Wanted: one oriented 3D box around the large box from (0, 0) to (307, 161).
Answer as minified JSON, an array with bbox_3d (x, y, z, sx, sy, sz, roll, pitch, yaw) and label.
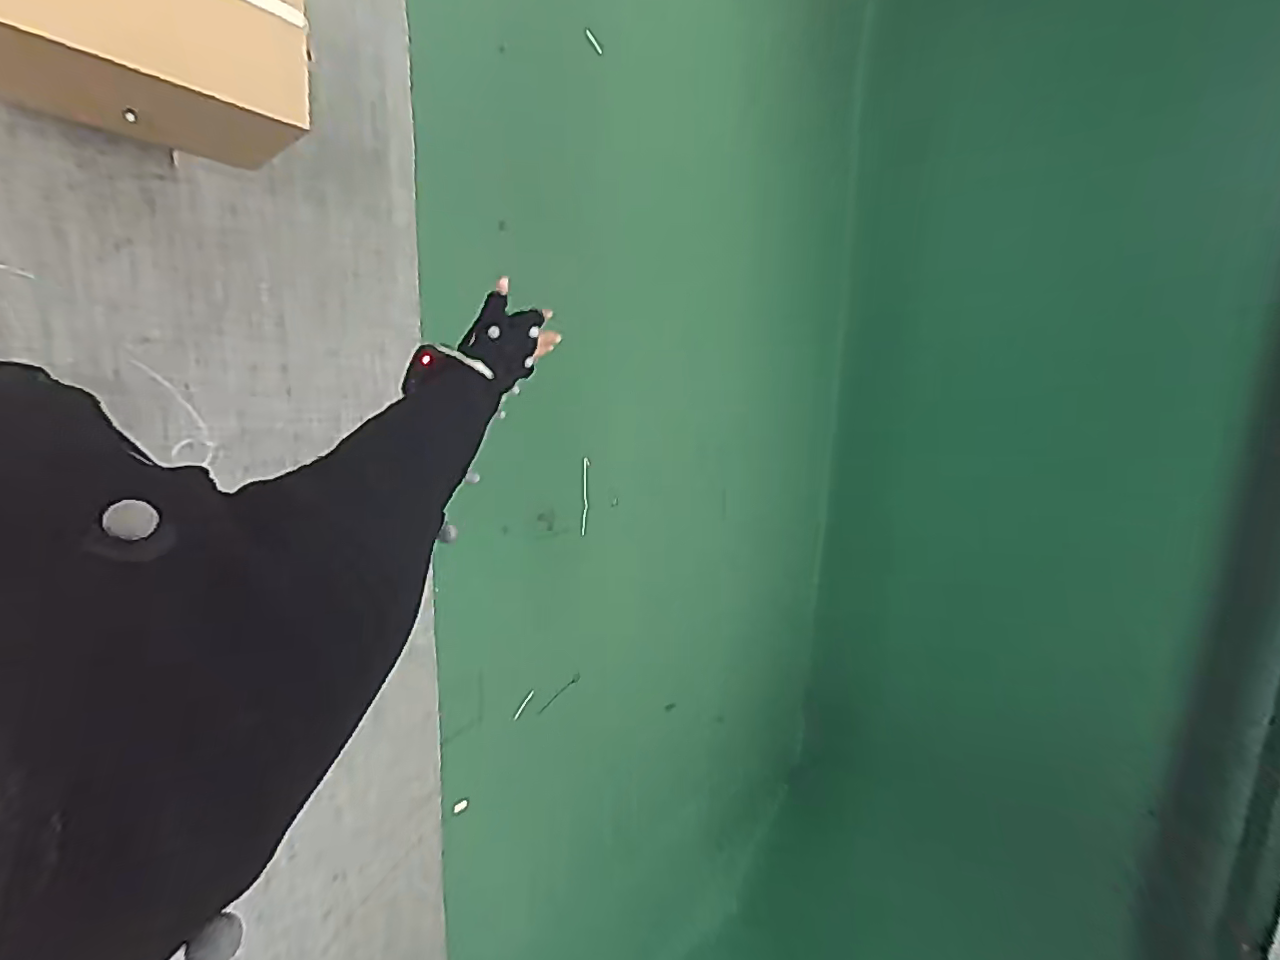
[{"bbox_3d":[-0.787,-0.739,0.819,0.408,0.320,0.320,-8,104,-49],"label":"large box"}]
